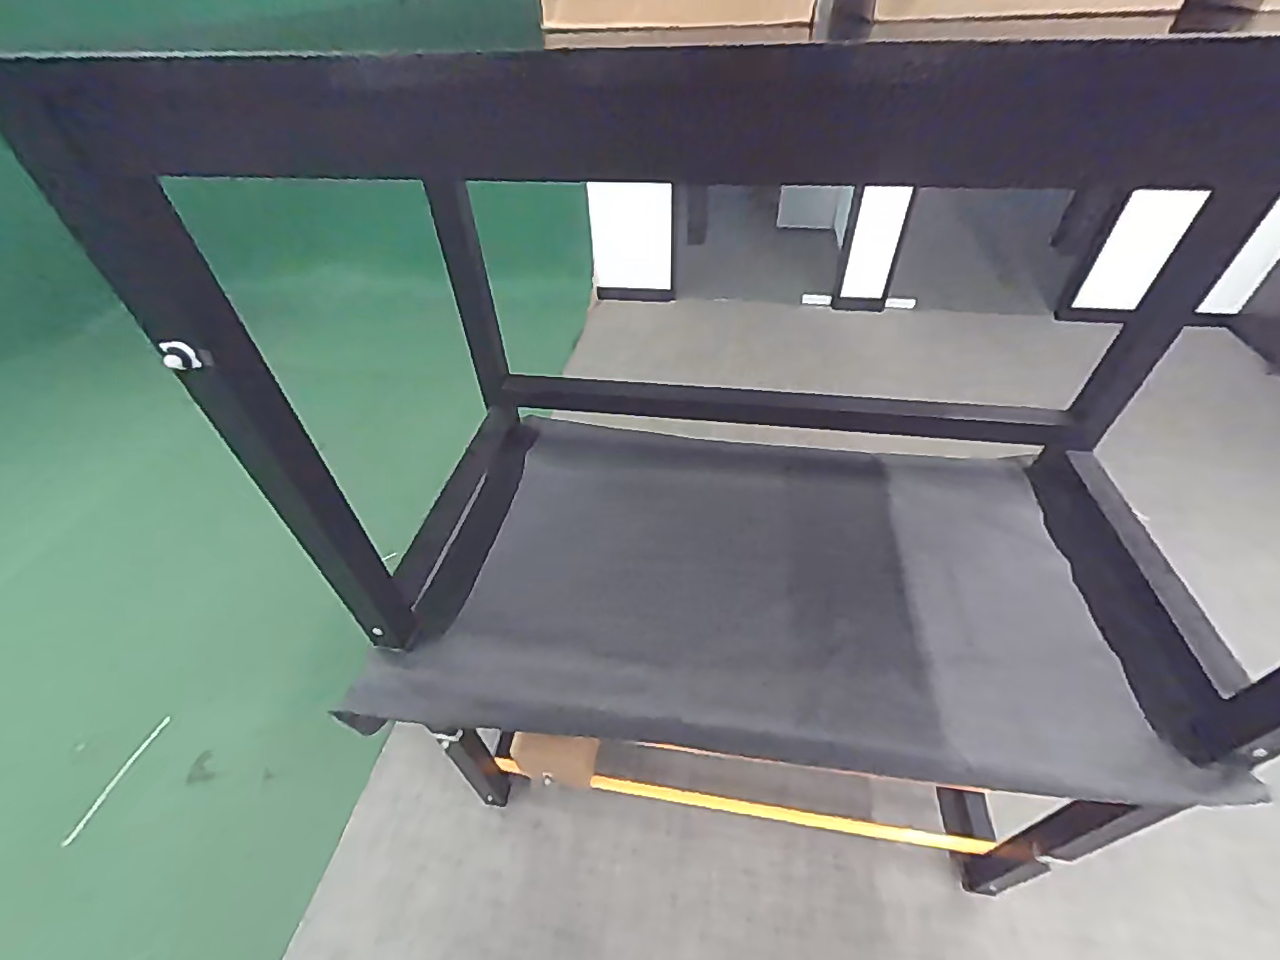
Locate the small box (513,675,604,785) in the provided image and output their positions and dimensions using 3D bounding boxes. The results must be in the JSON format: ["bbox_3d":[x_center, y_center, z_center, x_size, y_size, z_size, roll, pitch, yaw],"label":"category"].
[{"bbox_3d":[-0.183,0.592,1.280,0.168,0.176,0.179,5,46,8],"label":"small box"}]
